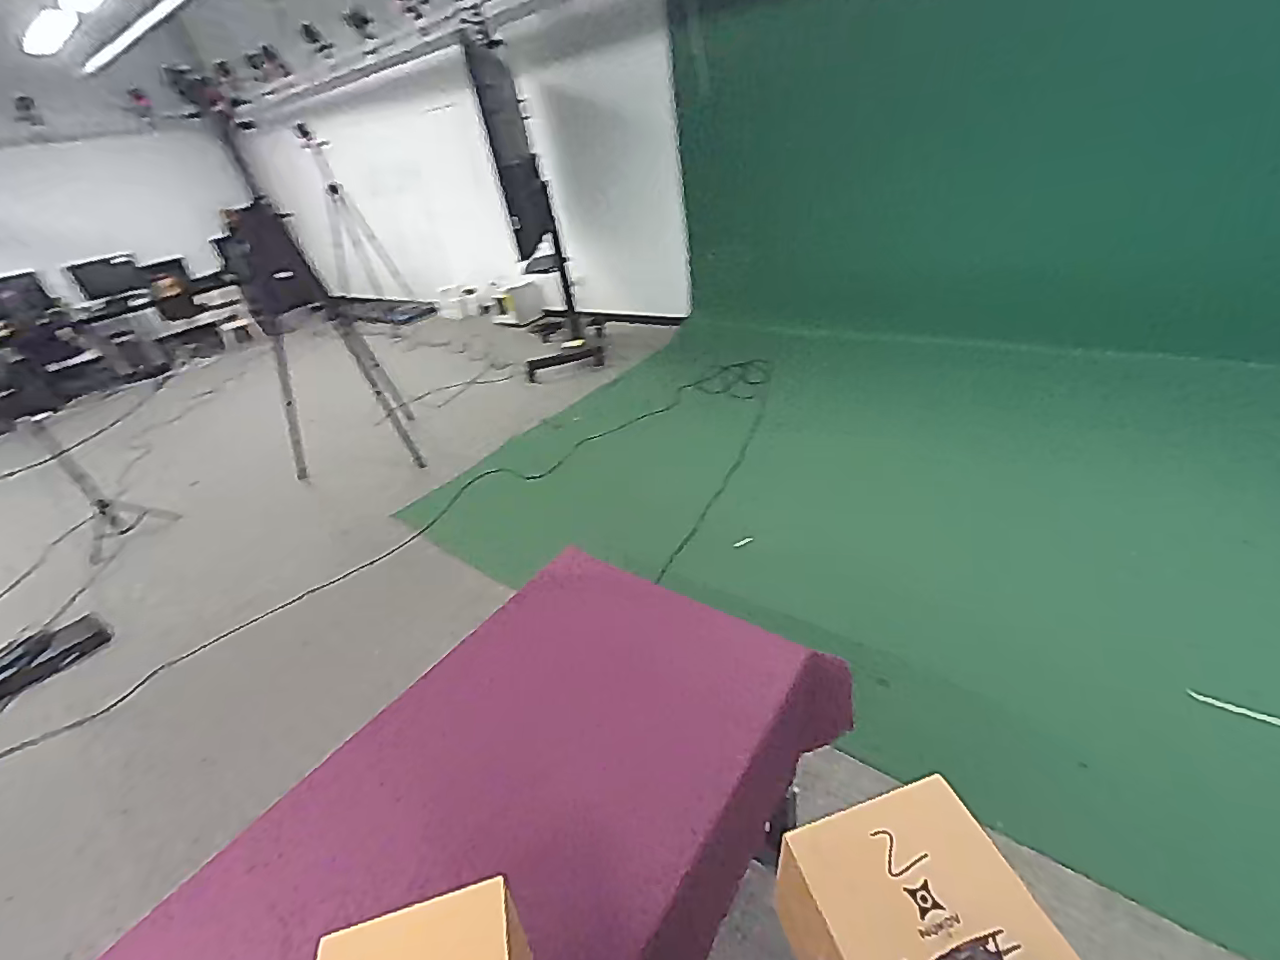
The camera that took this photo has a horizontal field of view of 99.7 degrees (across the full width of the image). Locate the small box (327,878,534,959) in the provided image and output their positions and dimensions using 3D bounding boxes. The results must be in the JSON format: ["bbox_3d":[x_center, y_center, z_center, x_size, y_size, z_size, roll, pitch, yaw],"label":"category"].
[{"bbox_3d":[-0.176,0.505,0.473,0.168,0.176,0.179,-10,31,-12],"label":"small box"}]
